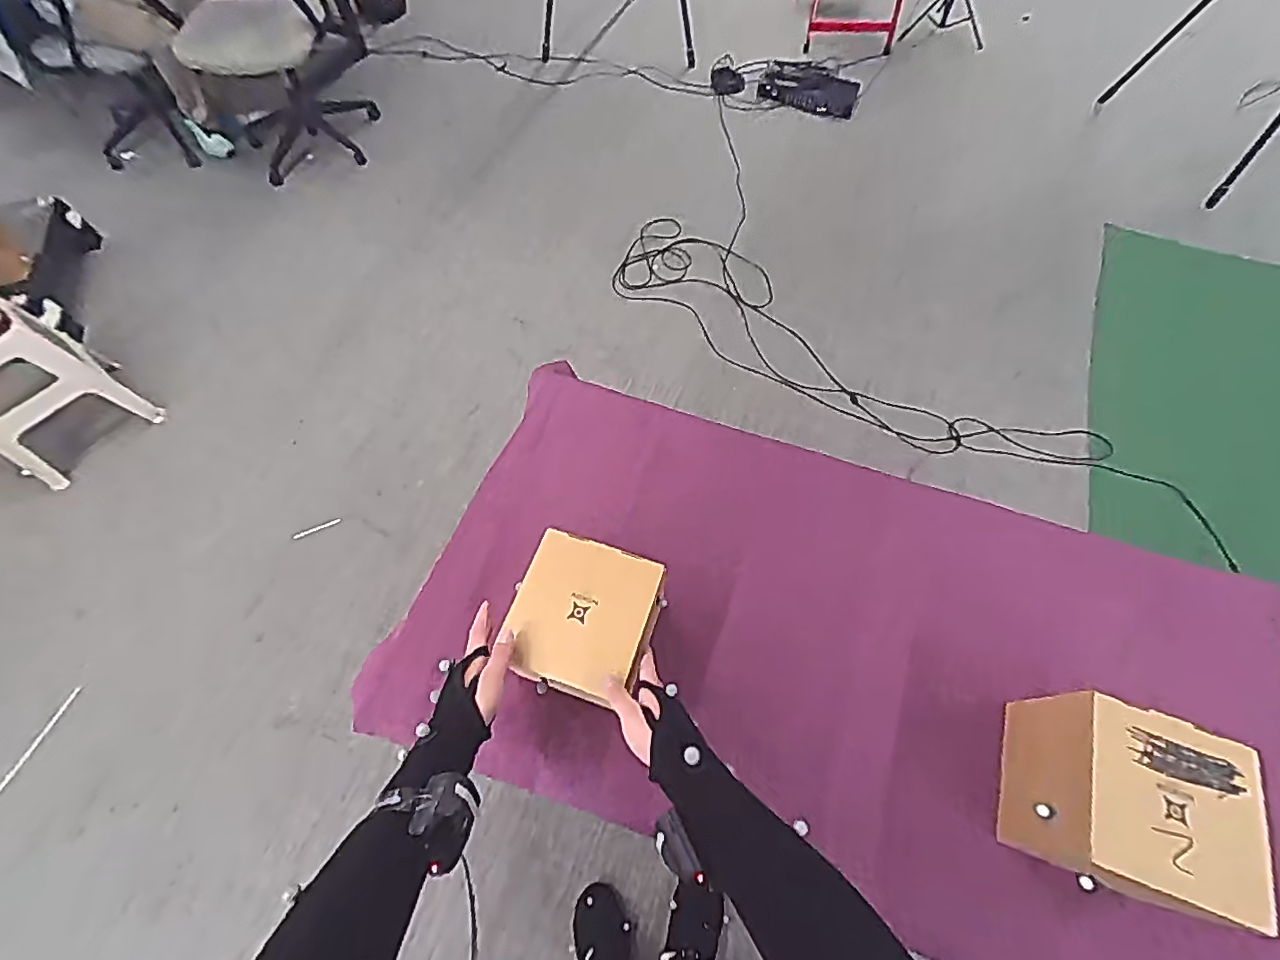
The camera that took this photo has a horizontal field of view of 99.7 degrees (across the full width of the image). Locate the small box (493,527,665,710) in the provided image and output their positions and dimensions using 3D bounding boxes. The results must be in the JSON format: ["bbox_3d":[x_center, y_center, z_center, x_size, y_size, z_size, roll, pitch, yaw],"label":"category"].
[{"bbox_3d":[-0.069,0.194,0.729,0.168,0.176,0.179,17,62,9],"label":"small box"}]
